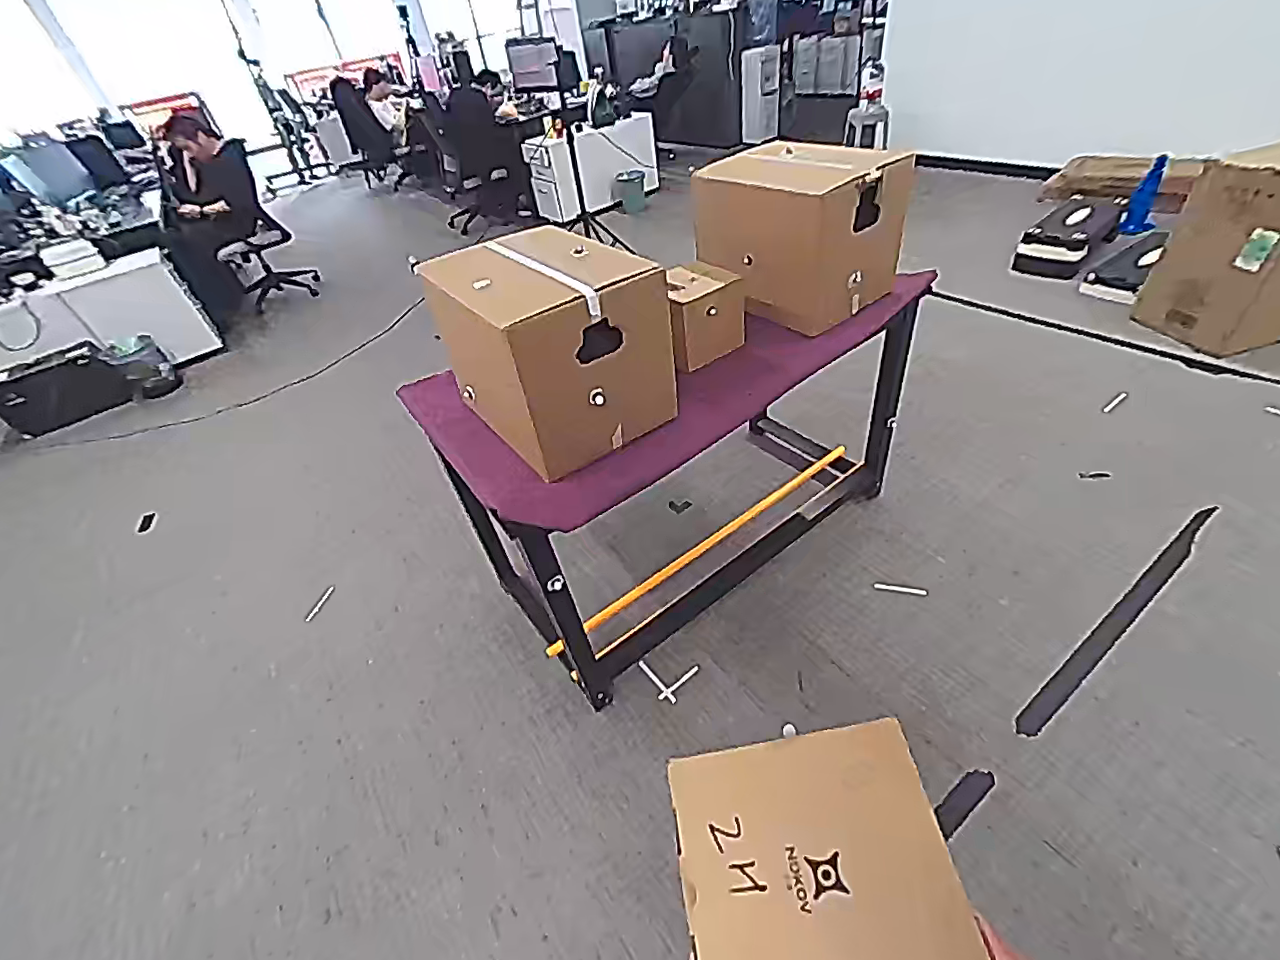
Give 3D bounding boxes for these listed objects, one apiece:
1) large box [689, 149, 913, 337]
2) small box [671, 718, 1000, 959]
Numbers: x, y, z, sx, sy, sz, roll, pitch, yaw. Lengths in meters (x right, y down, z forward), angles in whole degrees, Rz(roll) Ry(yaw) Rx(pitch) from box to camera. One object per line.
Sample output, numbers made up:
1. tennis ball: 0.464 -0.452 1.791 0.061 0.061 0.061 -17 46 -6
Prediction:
1. large box: 0.379 -0.596 1.332 0.320 0.320 0.408 -31 44 -22
2. small box: 0.134 0.295 0.409 0.179 0.176 0.168 -15 53 8
